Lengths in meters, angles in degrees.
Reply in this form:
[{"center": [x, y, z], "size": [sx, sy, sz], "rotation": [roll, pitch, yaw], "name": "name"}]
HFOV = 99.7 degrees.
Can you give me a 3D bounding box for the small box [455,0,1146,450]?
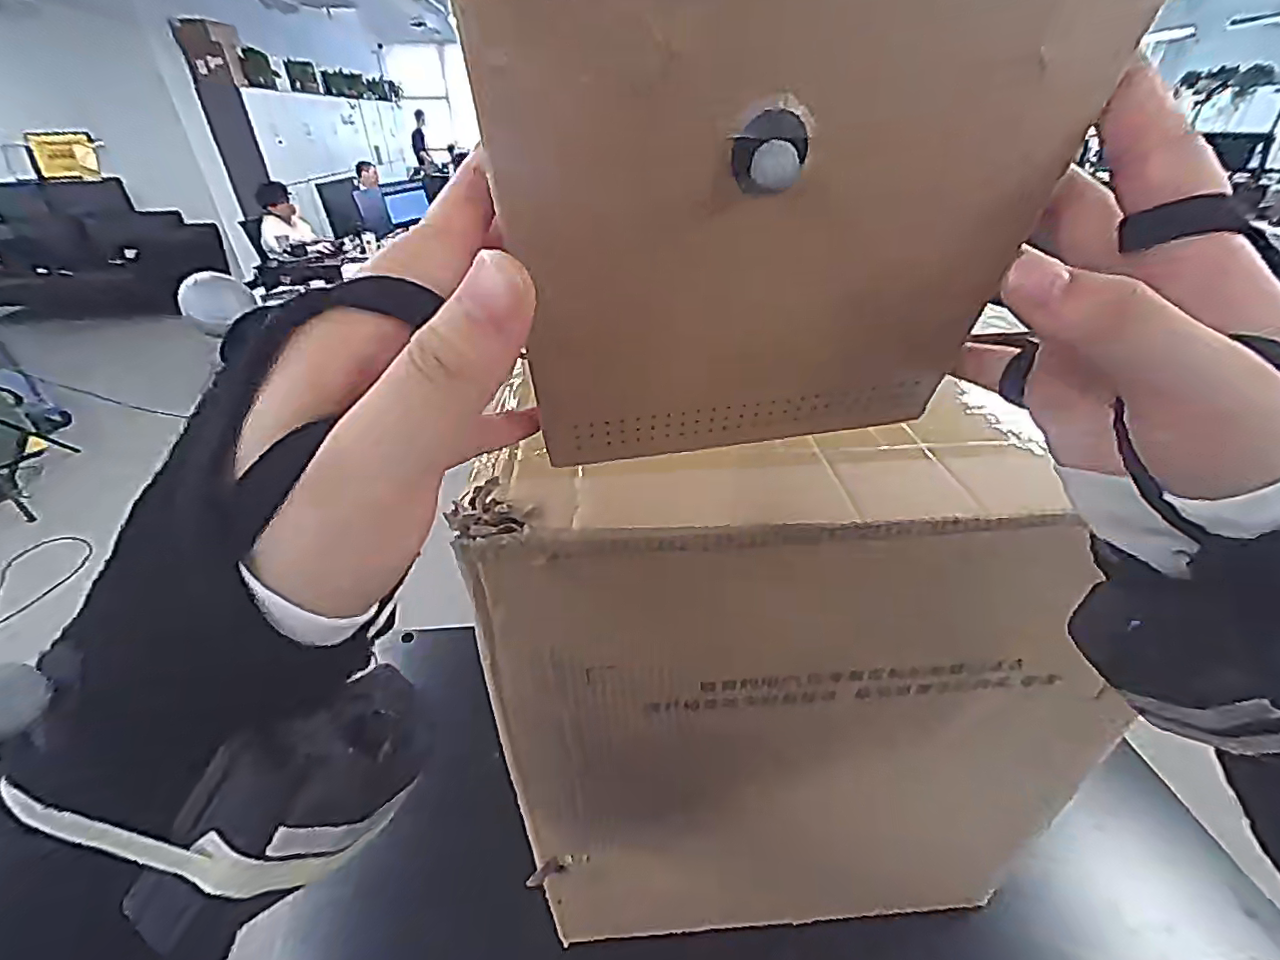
[{"center": [0.034, -0.128, 0.227], "size": [0.179, 0.176, 0.168], "rotation": [-7, 53, -6], "name": "small box"}]
